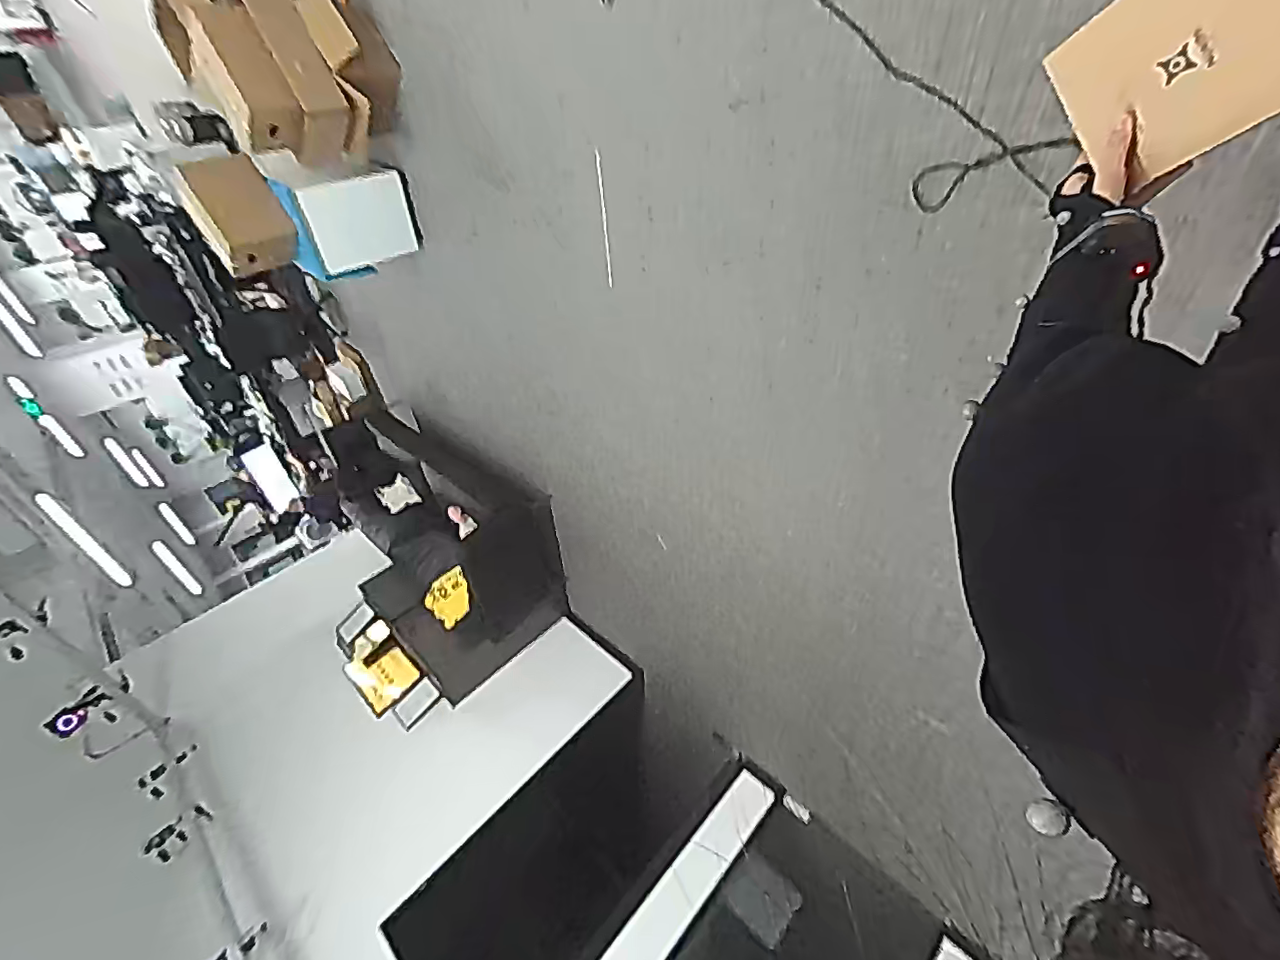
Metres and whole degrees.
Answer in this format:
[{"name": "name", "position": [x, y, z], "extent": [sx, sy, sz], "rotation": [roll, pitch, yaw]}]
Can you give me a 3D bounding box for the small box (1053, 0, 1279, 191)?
[{"name": "small box", "position": [0.550, -0.415, 0.504], "extent": [0.168, 0.176, 0.179], "rotation": [62, 158, -3]}]
